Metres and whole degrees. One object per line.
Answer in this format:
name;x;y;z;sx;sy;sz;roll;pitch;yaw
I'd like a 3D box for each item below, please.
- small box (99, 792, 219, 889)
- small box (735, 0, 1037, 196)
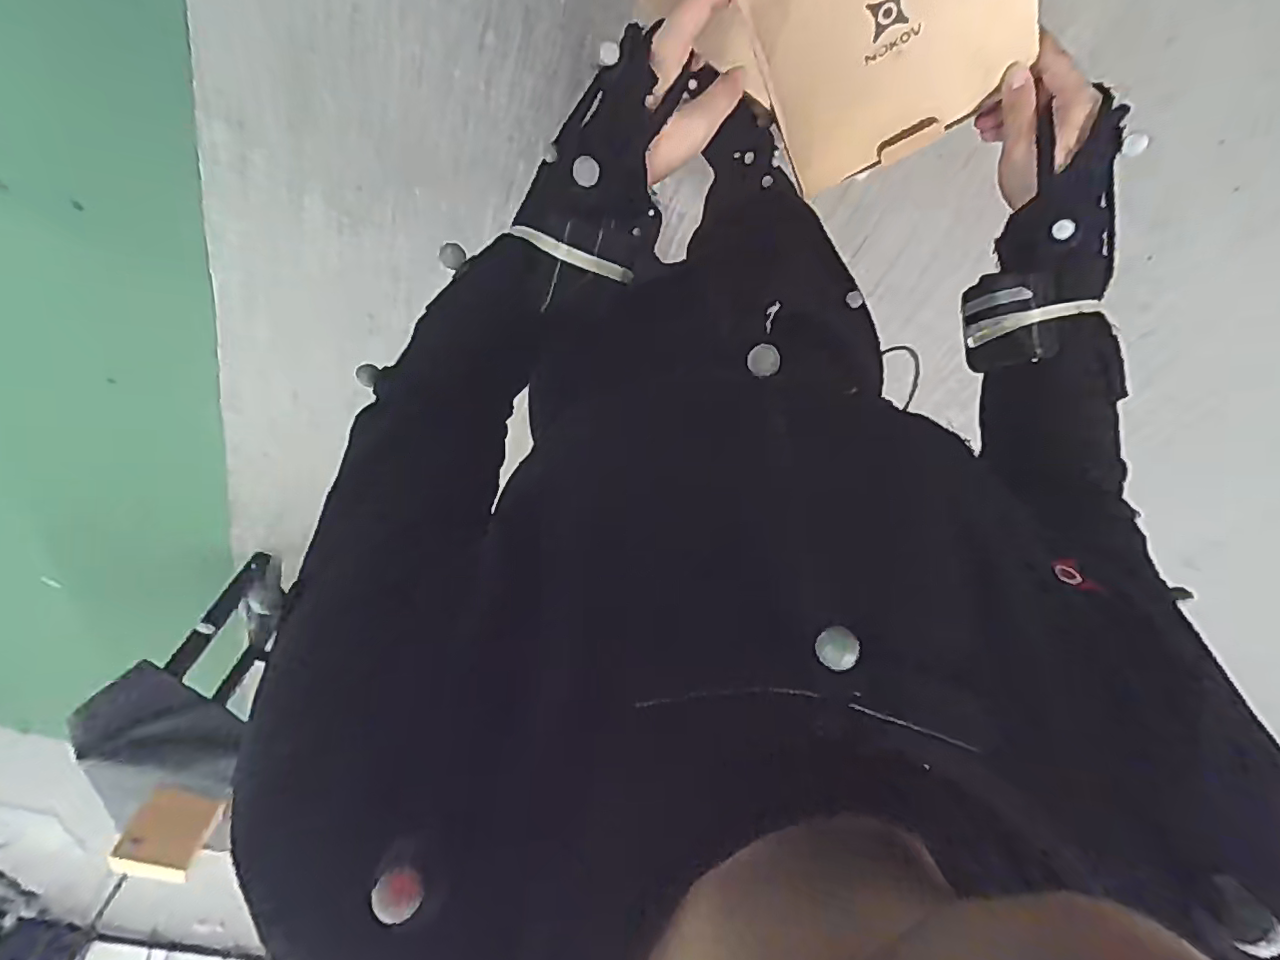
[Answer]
small box;-1.258;0.950;1.426;0.179;0.176;0.168;27;127;-17
small box;0.165;-0.364;0.401;0.168;0.176;0.179;-20;136;25
